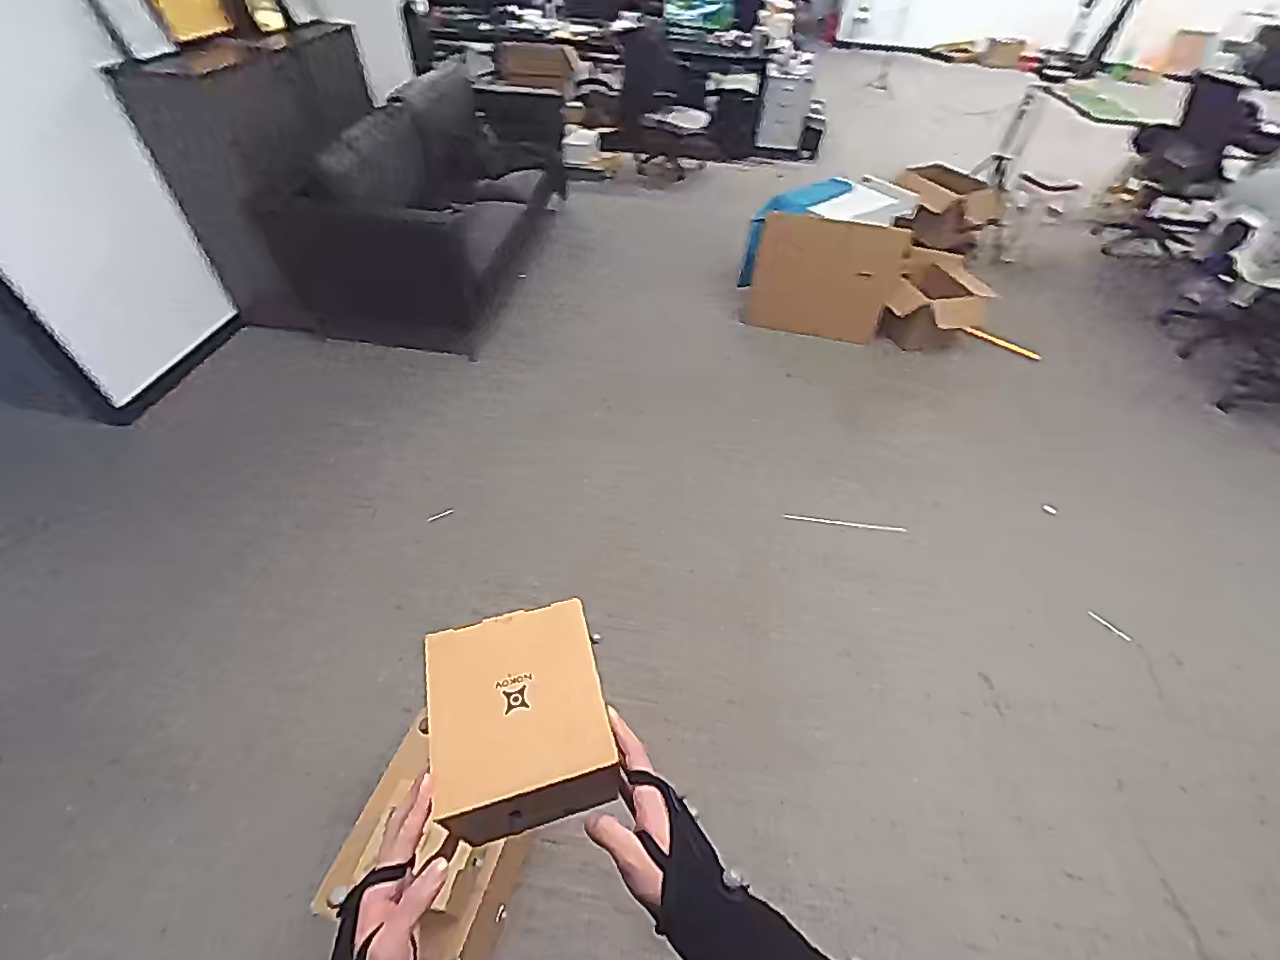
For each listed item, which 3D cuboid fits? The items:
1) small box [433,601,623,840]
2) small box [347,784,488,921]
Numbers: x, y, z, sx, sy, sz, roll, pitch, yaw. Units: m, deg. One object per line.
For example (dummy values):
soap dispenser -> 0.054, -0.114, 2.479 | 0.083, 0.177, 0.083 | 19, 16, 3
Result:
small box -> -0.115, 0.262, 0.581 | 0.168, 0.176, 0.179 | -11, 49, -12
small box -> -0.399, 0.703, 1.016 | 0.179, 0.176, 0.168 | 13, 47, 6
